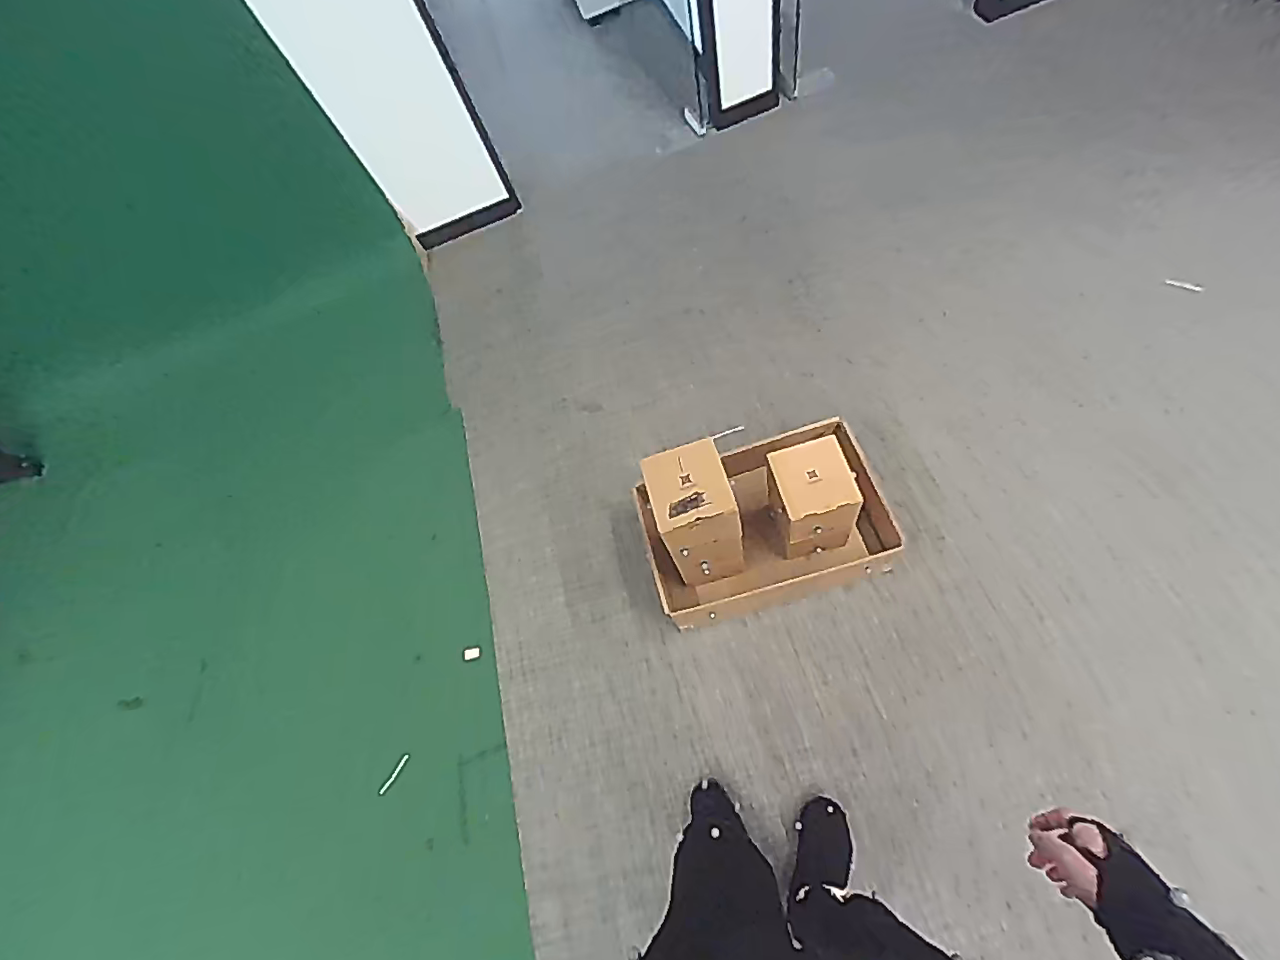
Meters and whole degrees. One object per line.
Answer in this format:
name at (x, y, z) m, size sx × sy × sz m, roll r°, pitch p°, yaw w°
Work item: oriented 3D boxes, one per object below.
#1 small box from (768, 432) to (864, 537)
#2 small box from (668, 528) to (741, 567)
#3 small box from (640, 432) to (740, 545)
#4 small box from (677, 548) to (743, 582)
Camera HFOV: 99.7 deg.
small box at (0.410, 0.015, 1.292) m, size 0.168 × 0.176 × 0.179 m, roll -16°, pitch 65°, yaw 6°
small box at (0.144, 0.093, 1.317) m, size 0.168 × 0.176 × 0.179 m, roll -16°, pitch 64°, yaw 5°
small box at (0.112, 0.030, 1.169) m, size 0.168 × 0.176 × 0.179 m, roll -17°, pitch 63°, yaw 5°
small box at (0.176, 0.157, 1.463) m, size 0.168 × 0.176 × 0.179 m, roll -16°, pitch 63°, yaw 6°
